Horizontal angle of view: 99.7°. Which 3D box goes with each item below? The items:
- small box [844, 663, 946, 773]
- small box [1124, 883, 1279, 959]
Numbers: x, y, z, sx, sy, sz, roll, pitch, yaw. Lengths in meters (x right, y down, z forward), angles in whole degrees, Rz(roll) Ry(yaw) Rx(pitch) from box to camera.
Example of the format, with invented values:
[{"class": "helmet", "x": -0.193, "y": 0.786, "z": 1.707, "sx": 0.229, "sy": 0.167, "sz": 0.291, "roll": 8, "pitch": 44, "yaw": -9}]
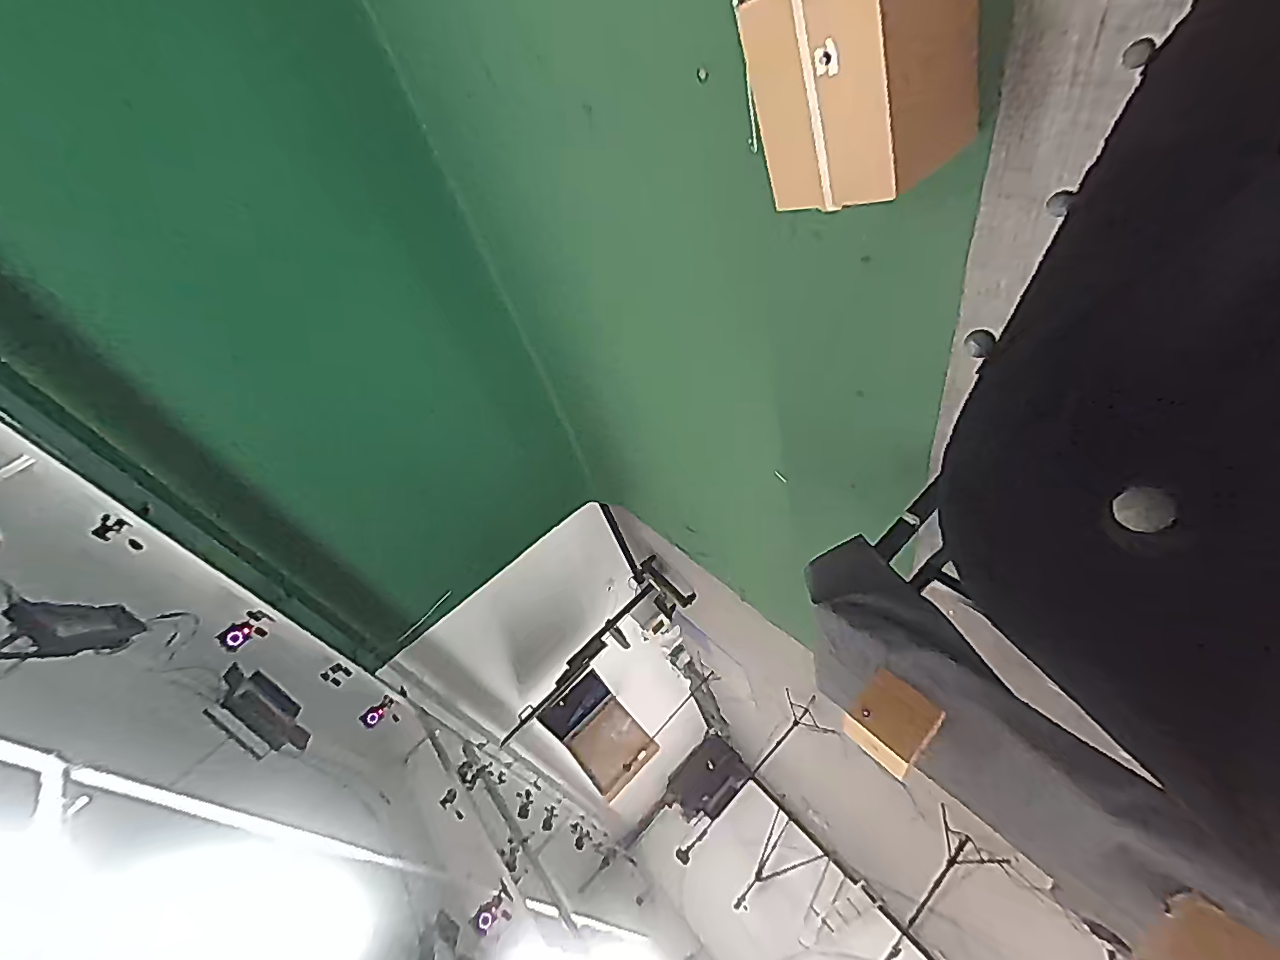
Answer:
[{"class": "small box", "x": 0.660, "y": 0.614, "z": 1.407, "sx": 0.179, "sy": 0.176, "sz": 0.168, "roll": 36, "pitch": 158, "yaw": 38}, {"class": "small box", "x": 1.069, "y": 0.901, "z": 1.003, "sx": 0.179, "sy": 0.176, "sz": 0.168, "roll": 35, "pitch": 156, "yaw": 41}]
